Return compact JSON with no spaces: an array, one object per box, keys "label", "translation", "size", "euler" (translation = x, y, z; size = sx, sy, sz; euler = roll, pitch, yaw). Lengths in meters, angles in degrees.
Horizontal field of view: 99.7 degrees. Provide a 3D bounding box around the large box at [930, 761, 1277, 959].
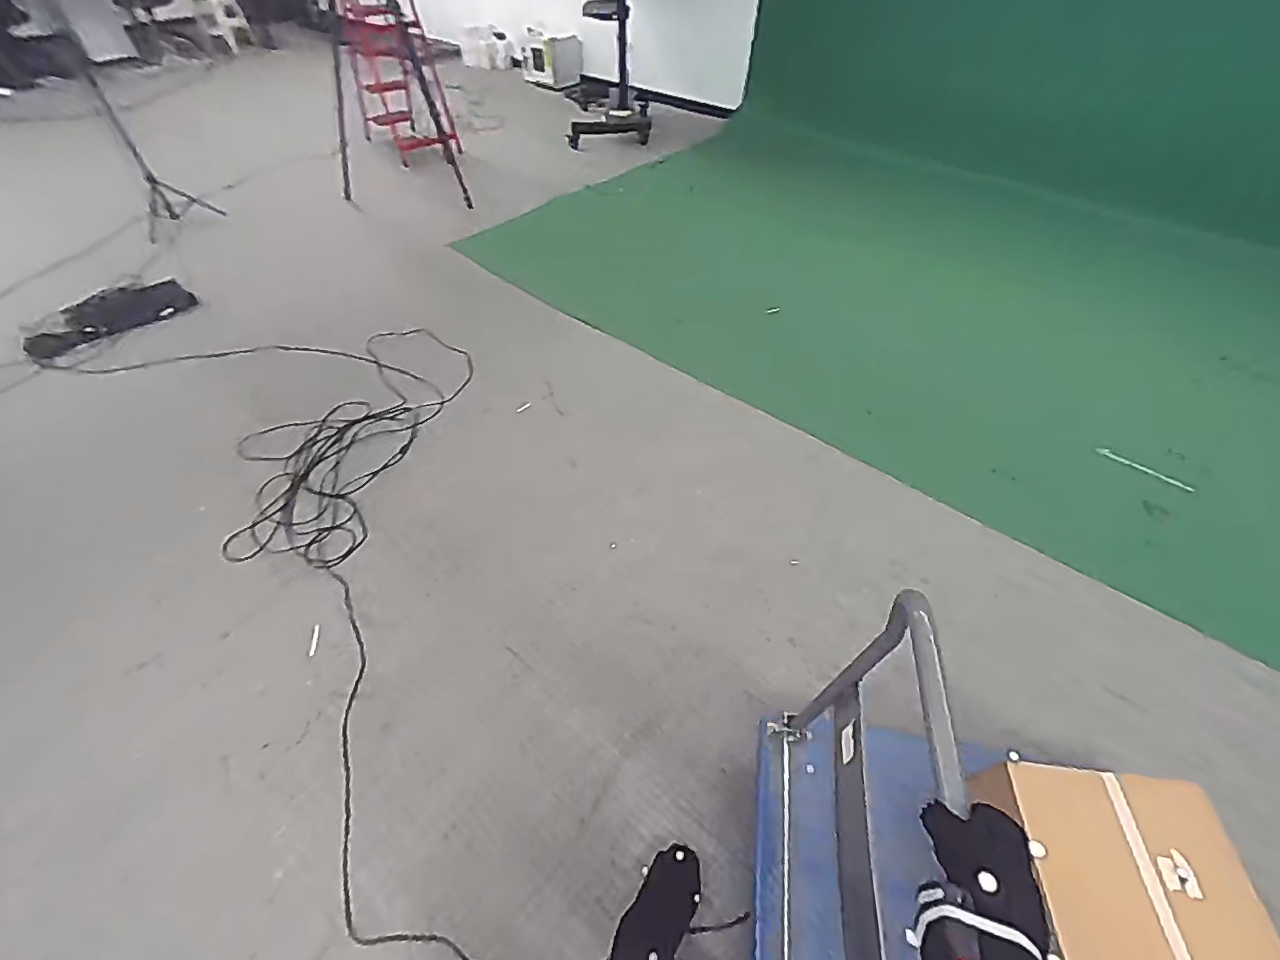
[{"label":"large box","translation":[0.731,0.734,0.880],"size":[0.320,0.320,0.408],"euler":[6,48,3]}]
